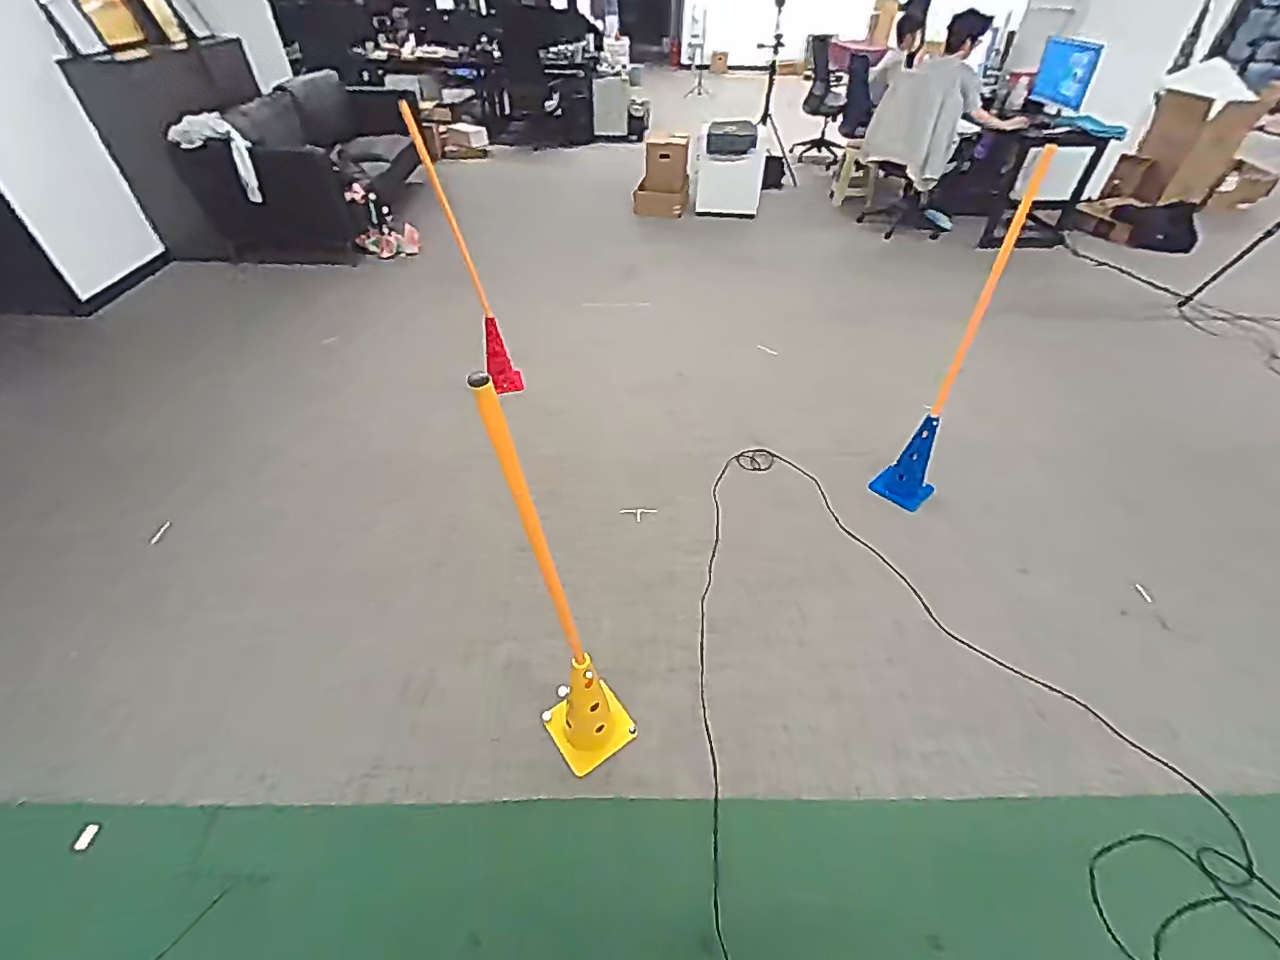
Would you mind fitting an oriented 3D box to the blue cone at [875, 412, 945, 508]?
[{"bbox_3d":[1.063,-0.099,2.060,0.192,0.380,0.193,34,50,31],"label":"blue cone"}]
